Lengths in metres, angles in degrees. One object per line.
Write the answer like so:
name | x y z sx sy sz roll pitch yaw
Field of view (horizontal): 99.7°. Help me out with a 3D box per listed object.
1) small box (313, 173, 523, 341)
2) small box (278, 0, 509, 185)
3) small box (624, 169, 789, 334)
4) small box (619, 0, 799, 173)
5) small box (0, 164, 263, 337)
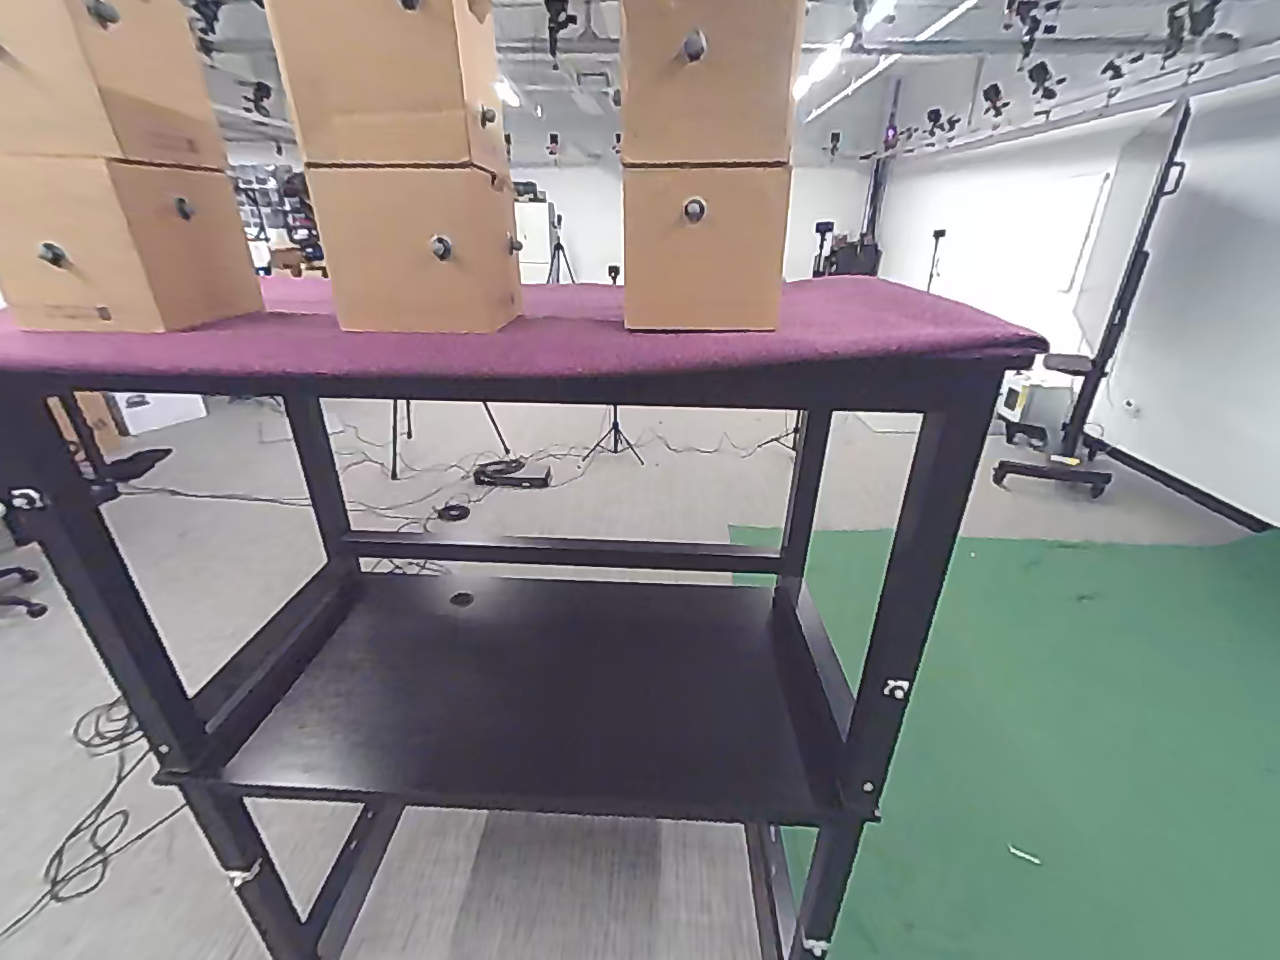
small box | -0.247 -0.268 0.655 0.179 0.176 0.168 0 24 1
small box | -0.252 -0.417 0.589 0.179 0.176 0.168 0 24 -1
small box | 0.076 -0.273 0.667 0.179 0.176 0.168 2 23 4
small box | 0.074 -0.425 0.604 0.179 0.176 0.168 1 23 4
small box | -0.589 -0.268 0.637 0.168 0.176 0.179 2 25 0
